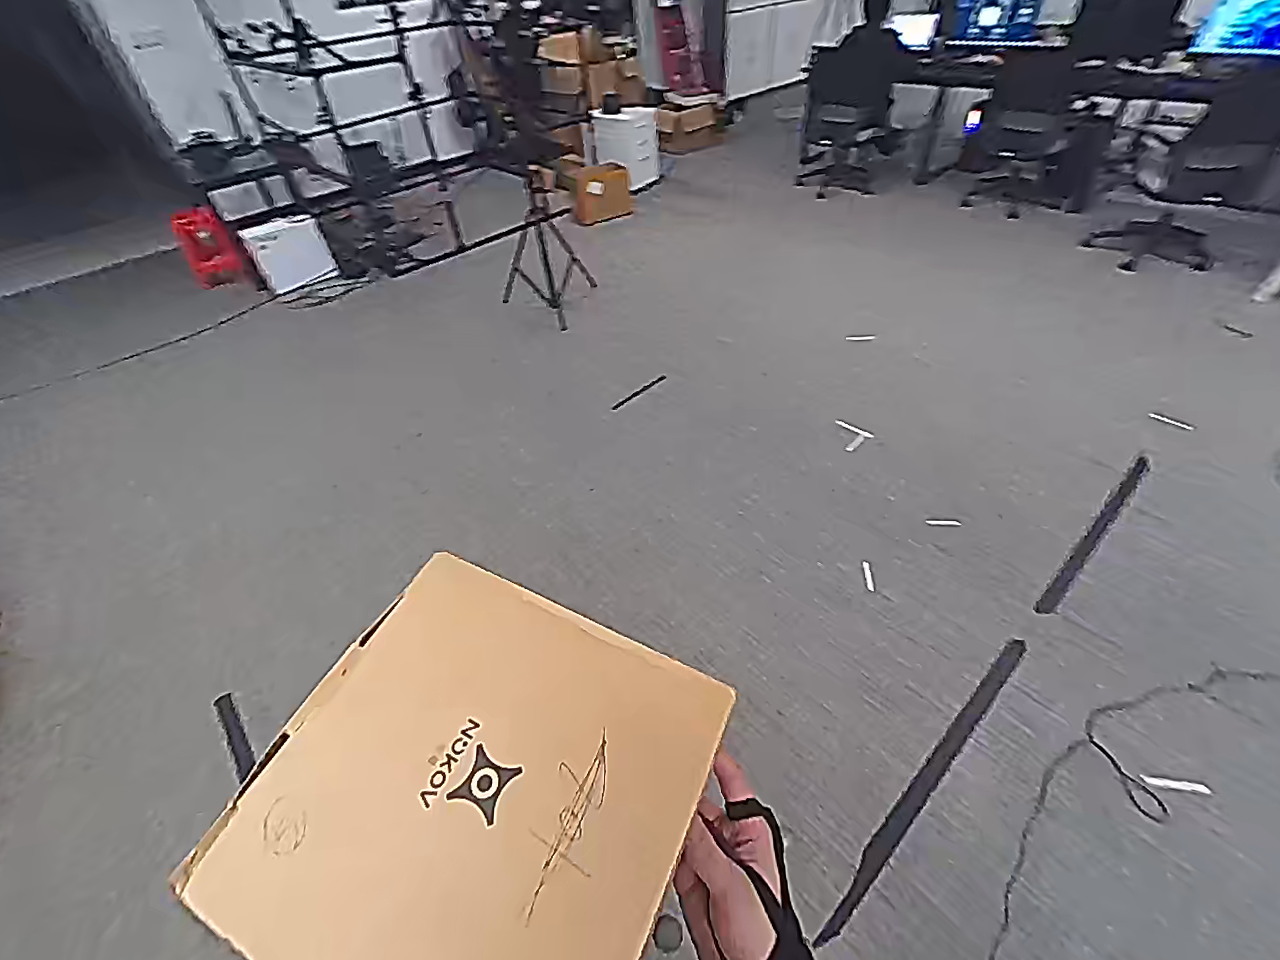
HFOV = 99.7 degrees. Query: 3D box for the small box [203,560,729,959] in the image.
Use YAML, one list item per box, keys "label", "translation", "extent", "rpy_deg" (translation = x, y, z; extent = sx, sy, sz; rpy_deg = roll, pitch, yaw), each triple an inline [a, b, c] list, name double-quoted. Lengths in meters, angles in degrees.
- label: "small box"
  translation: [-0.068, 0.179, 0.304]
  extent: [0.179, 0.176, 0.168]
  rpy_deg: [21, 56, 15]
